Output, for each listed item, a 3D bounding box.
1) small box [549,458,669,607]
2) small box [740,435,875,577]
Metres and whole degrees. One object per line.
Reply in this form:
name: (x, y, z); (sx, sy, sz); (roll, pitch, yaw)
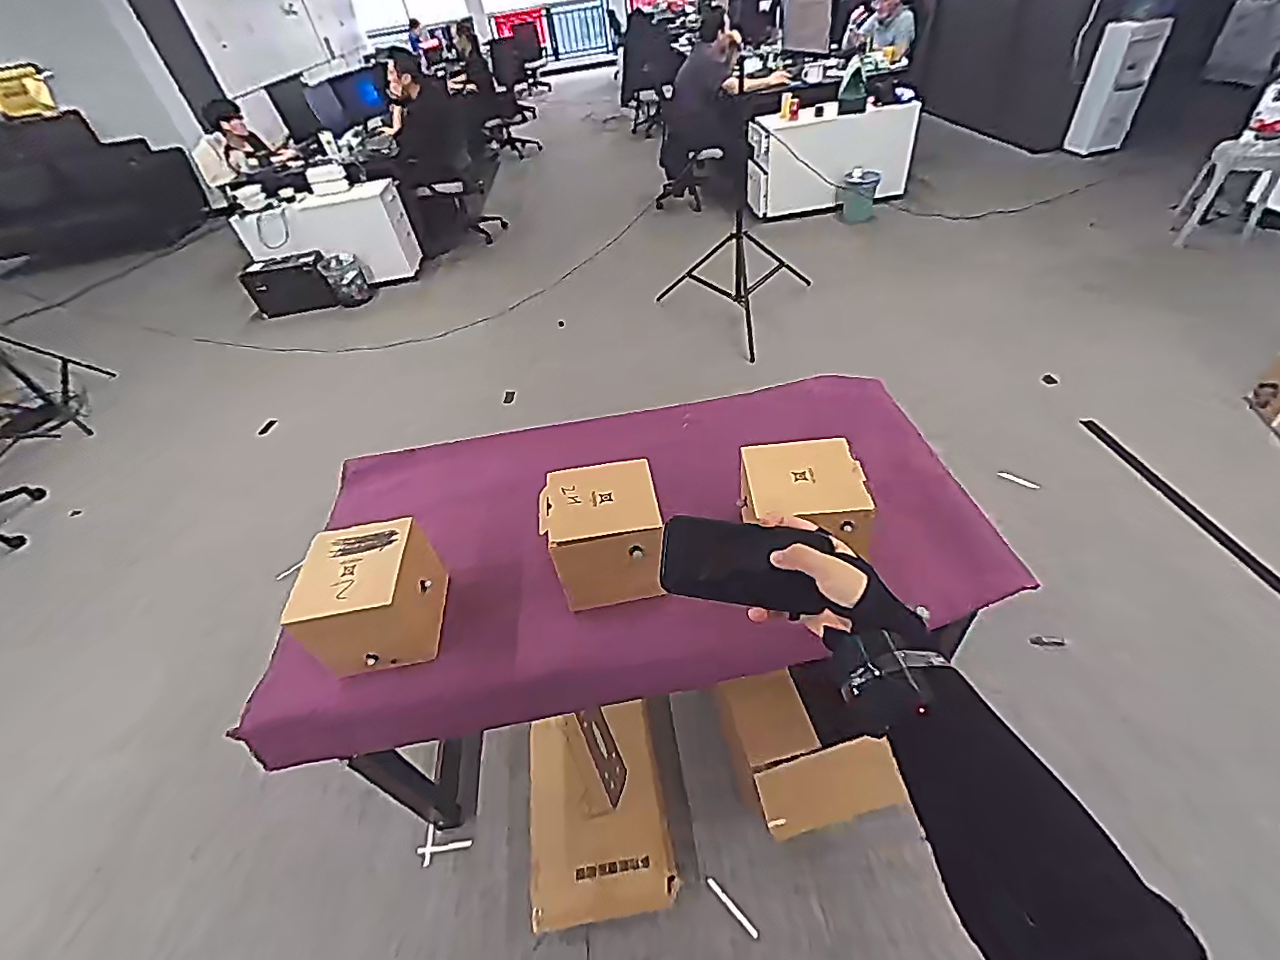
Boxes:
small box: (-0.049, 0.090, 0.912); (0.179, 0.176, 0.168); (-11, 41, -1)
small box: (0.267, 0.047, 0.902); (0.179, 0.176, 0.168); (-6, 44, 4)
